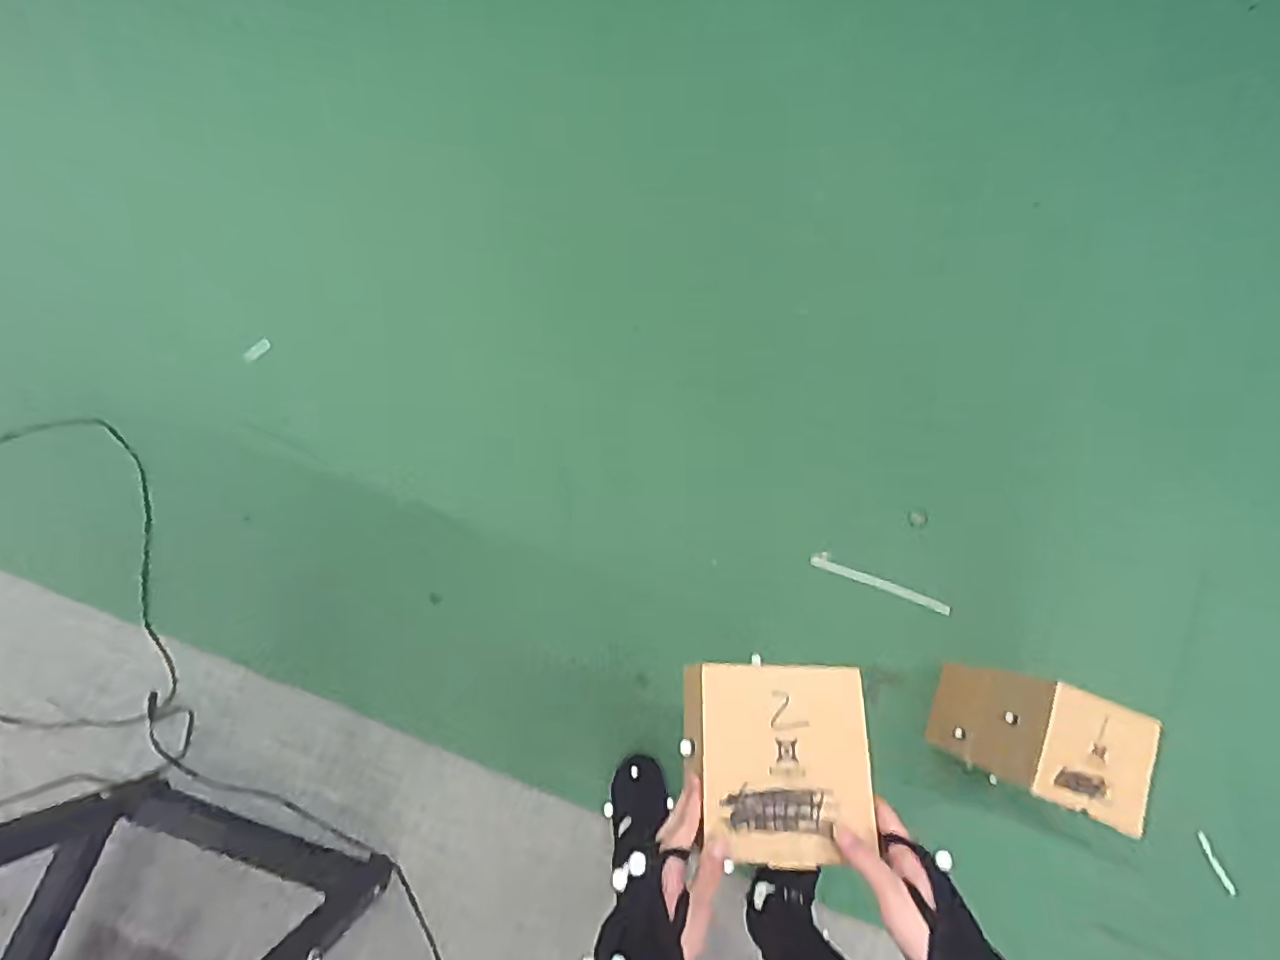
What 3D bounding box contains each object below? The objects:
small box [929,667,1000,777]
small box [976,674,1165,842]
[{"bbox_3d":[0.702,0.483,1.059,0.168,0.176,0.179,21,79,5],"label":"small box"},{"bbox_3d":[0.700,0.446,0.900,0.168,0.176,0.179,22,78,5],"label":"small box"}]
